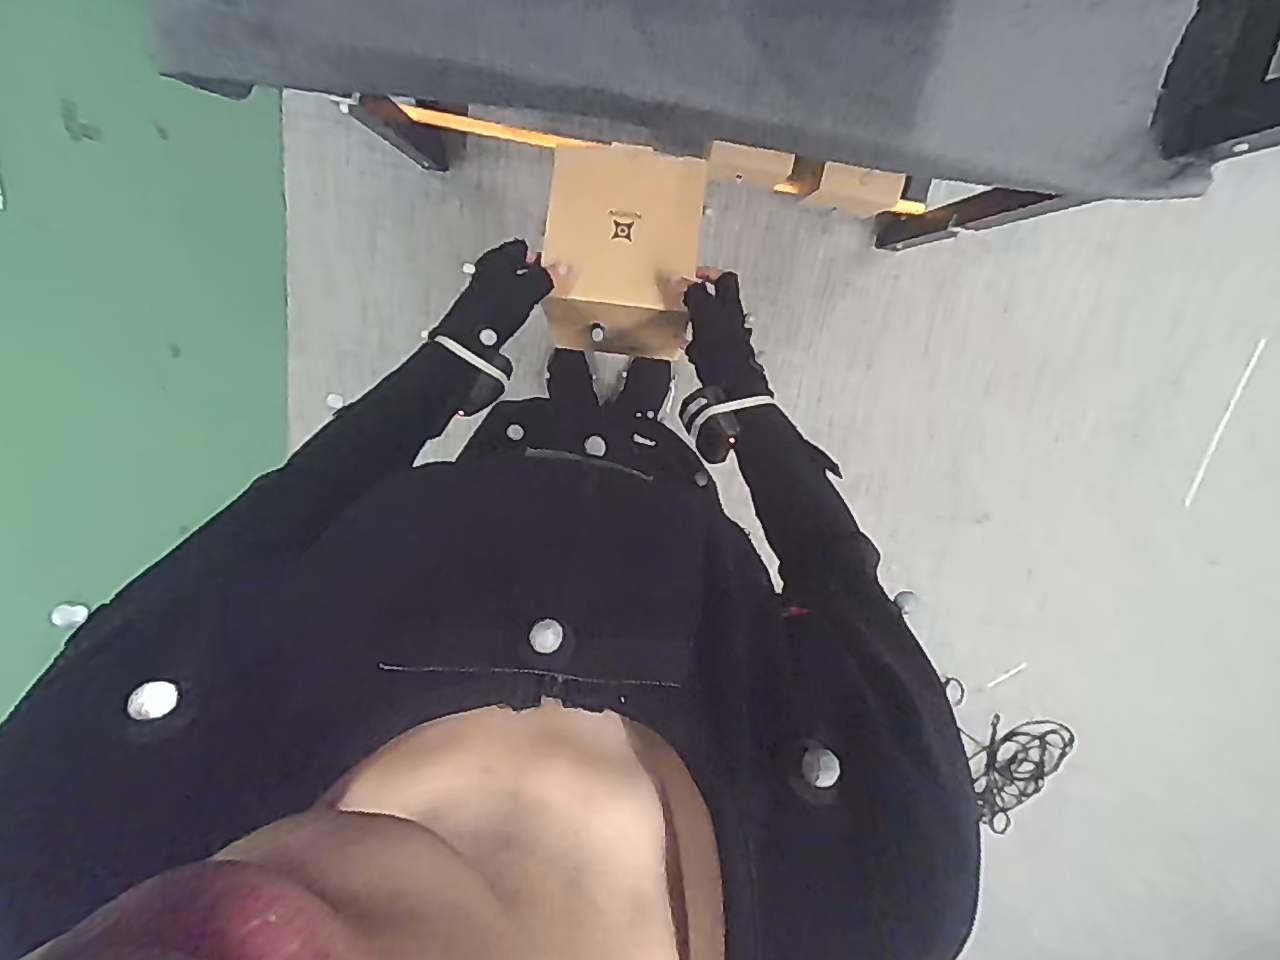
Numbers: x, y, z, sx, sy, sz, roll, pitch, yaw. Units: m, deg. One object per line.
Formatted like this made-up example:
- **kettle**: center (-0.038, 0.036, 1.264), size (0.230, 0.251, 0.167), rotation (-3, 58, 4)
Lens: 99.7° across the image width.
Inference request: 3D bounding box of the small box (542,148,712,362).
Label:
- **small box**: center (-0.013, -0.253, 0.646), size (0.168, 0.176, 0.179), rotation (6, 83, -1)

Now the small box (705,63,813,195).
- **small box**: center (0.231, -0.702, 1.105), size (0.168, 0.176, 0.179), rotation (8, 106, -4)
